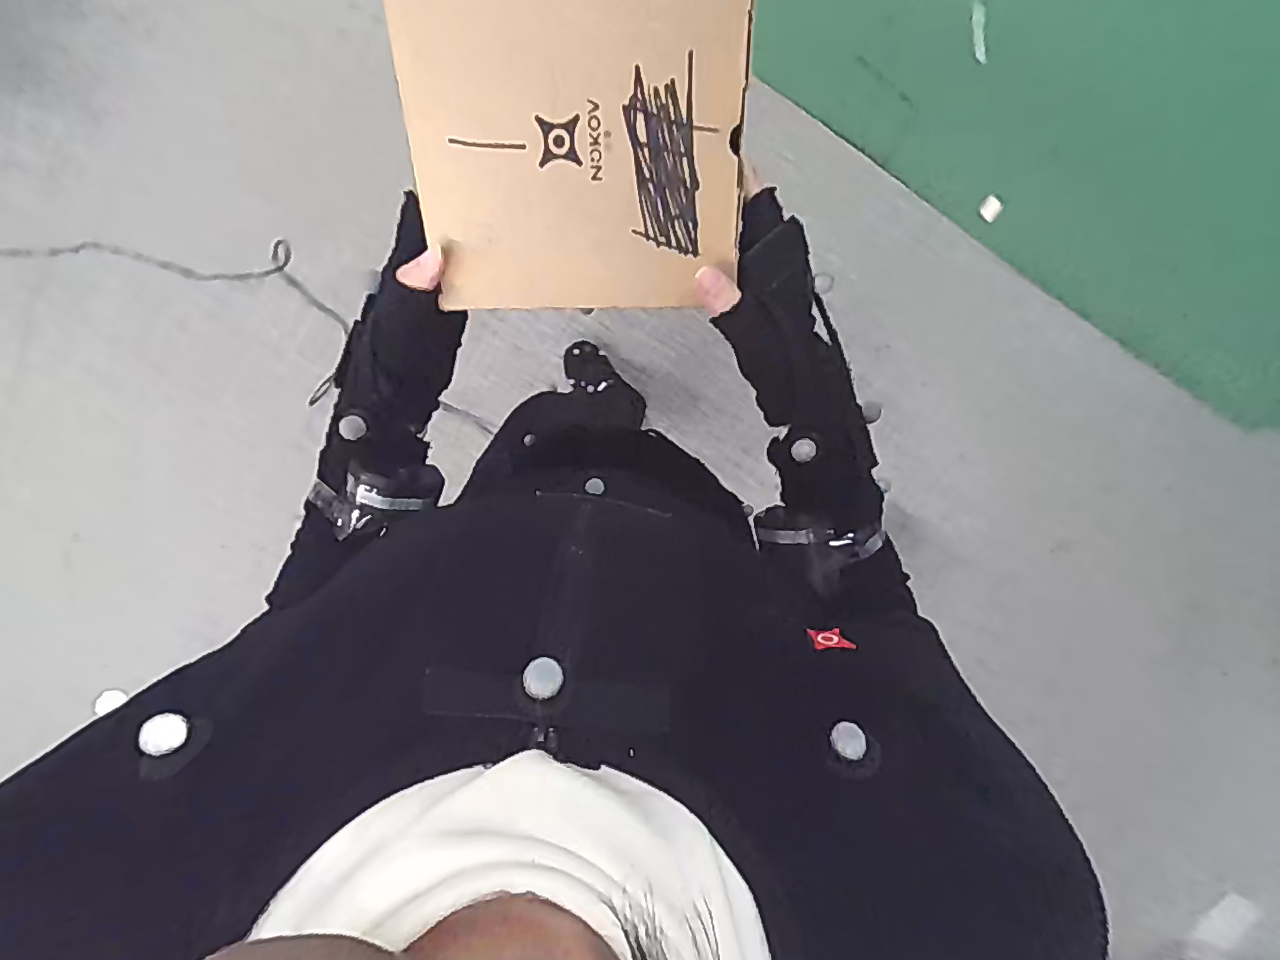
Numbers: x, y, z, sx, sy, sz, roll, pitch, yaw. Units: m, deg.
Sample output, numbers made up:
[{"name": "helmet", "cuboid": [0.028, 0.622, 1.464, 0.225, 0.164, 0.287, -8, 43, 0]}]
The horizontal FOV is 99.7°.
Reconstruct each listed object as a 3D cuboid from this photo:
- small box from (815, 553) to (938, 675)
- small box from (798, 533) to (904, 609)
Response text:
[{"name": "small box", "cuboid": [0.527, 0.299, 1.240, 0.168, 0.176, 0.179, 35, 100, -7]}, {"name": "small box", "cuboid": [0.531, 0.264, 1.400, 0.168, 0.176, 0.179, 33, 98, -6]}]
